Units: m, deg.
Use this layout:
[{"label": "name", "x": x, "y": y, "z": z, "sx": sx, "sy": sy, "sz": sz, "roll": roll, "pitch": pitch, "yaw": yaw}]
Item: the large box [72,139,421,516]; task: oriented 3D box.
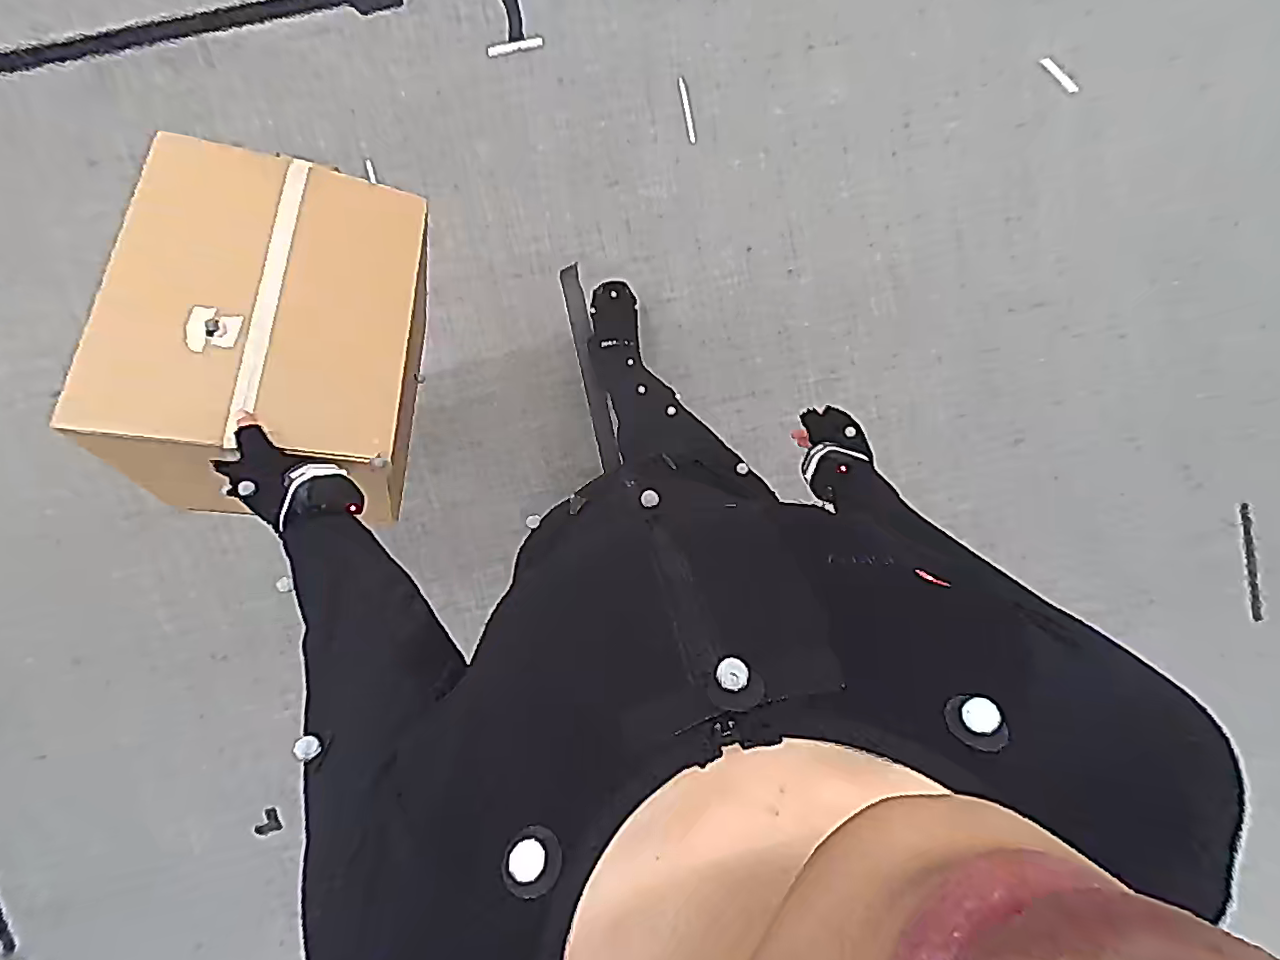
[{"label": "large box", "x": -0.509, "y": -0.184, "z": 0.801, "sx": 0.320, "sy": 0.320, "sz": 0.408, "roll": 6, "pitch": 71, "yaw": -20}]
